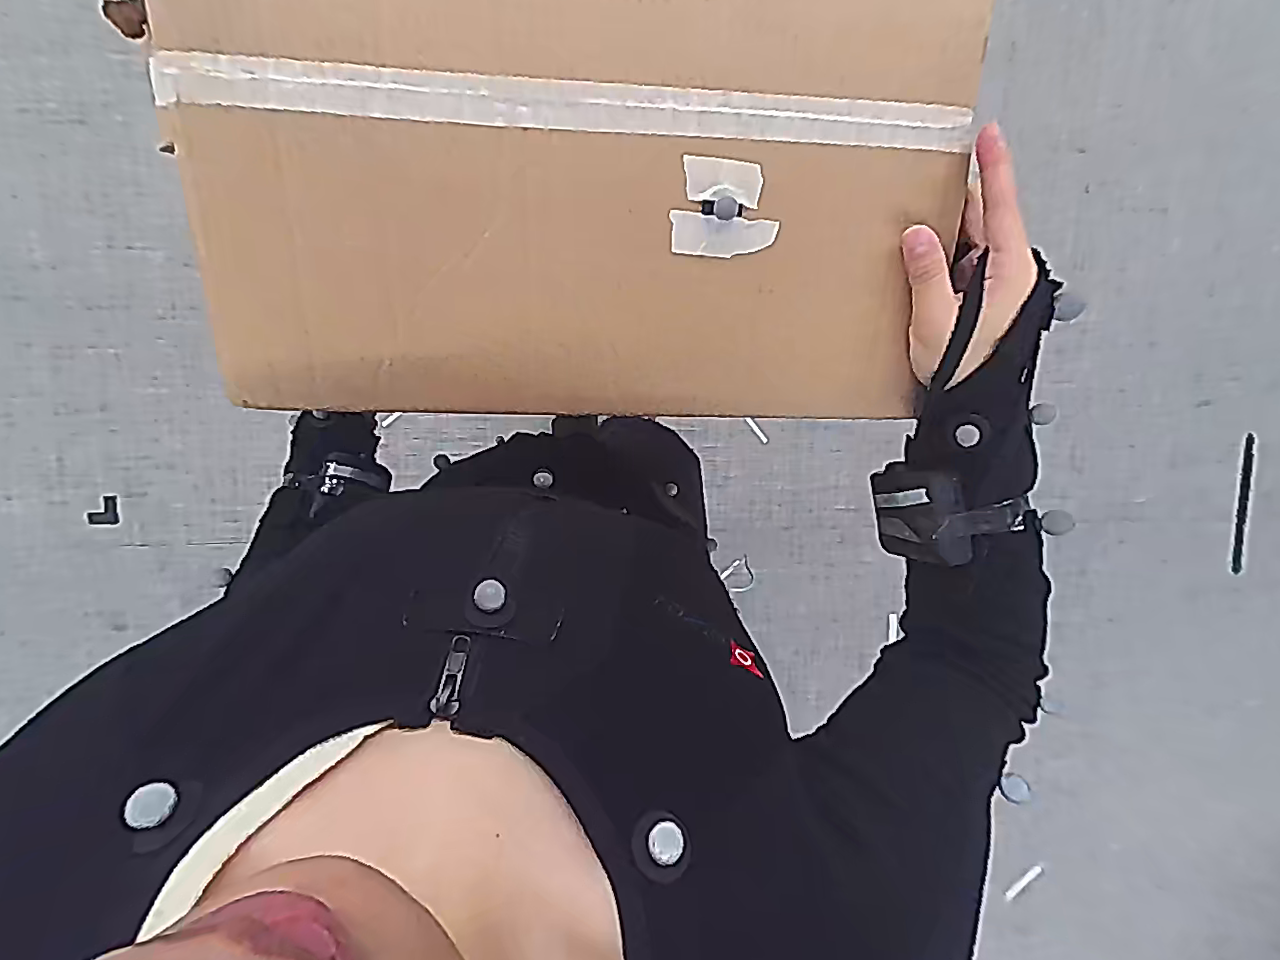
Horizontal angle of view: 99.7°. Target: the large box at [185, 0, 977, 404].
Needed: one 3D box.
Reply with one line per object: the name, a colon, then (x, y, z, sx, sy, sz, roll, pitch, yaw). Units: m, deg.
large box: (-0.037, -0.237, 0.427, 0.408, 0.320, 0.320, -1, 107, -7)
